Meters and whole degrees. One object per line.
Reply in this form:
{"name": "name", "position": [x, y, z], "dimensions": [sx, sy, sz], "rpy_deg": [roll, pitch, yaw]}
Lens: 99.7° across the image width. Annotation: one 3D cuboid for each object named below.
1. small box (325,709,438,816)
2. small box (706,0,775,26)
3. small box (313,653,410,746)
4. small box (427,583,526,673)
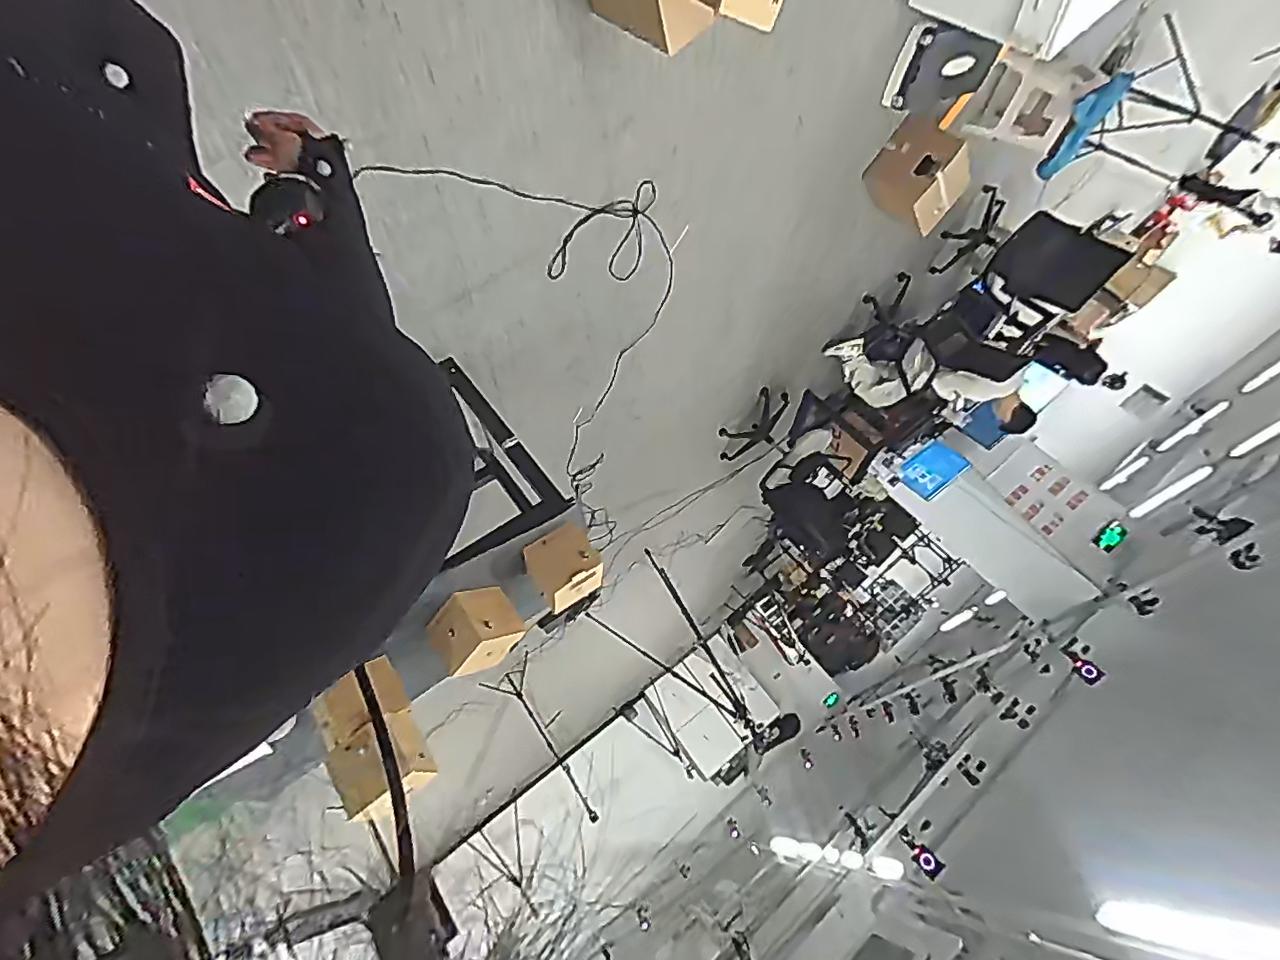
{"name": "small box", "position": [-0.642, 0.700, 1.351], "dimensions": [0.168, 0.176, 0.179], "rpy_deg": [-36, 156, -16]}
{"name": "small box", "position": [0.181, -1.059, 1.082], "dimensions": [0.179, 0.176, 0.168], "rpy_deg": [-19, 148, -38]}
{"name": "small box", "position": [-0.742, 0.594, 1.430], "dimensions": [0.179, 0.176, 0.168], "rpy_deg": [-17, 147, -46]}
{"name": "small box", "position": [-0.469, 0.412, 1.534], "dimensions": [0.168, 0.176, 0.179], "rpy_deg": [-49, 156, 18]}
